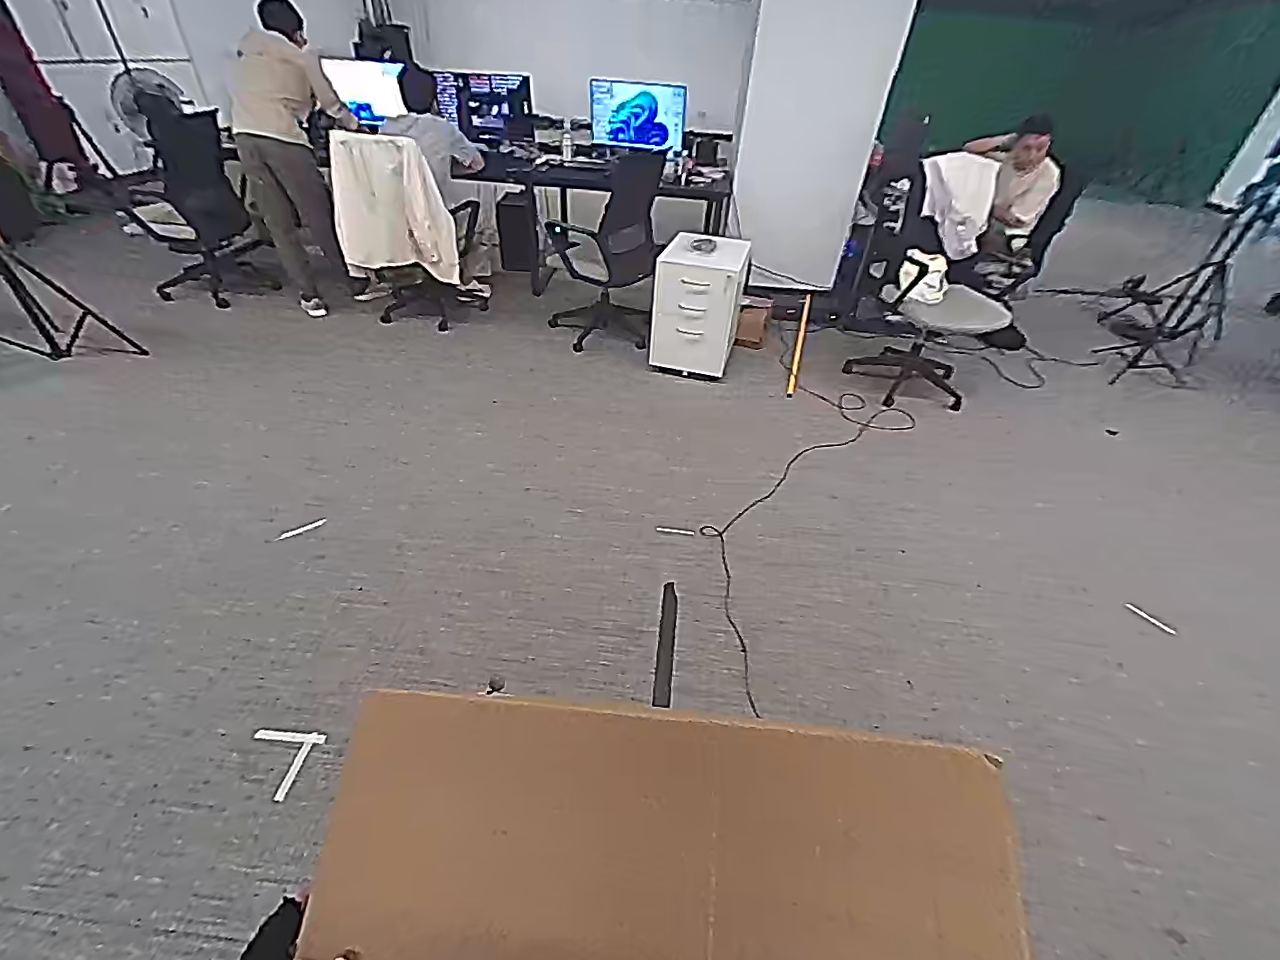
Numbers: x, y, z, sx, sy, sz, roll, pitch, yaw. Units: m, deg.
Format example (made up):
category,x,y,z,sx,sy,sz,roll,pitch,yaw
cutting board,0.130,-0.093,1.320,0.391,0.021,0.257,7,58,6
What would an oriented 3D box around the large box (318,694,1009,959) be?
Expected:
category,x,y,z,sx,sy,sz,roll,pitch,yaw
large box,0.013,0.357,0.438,0.408,0.320,0.320,3,69,7
